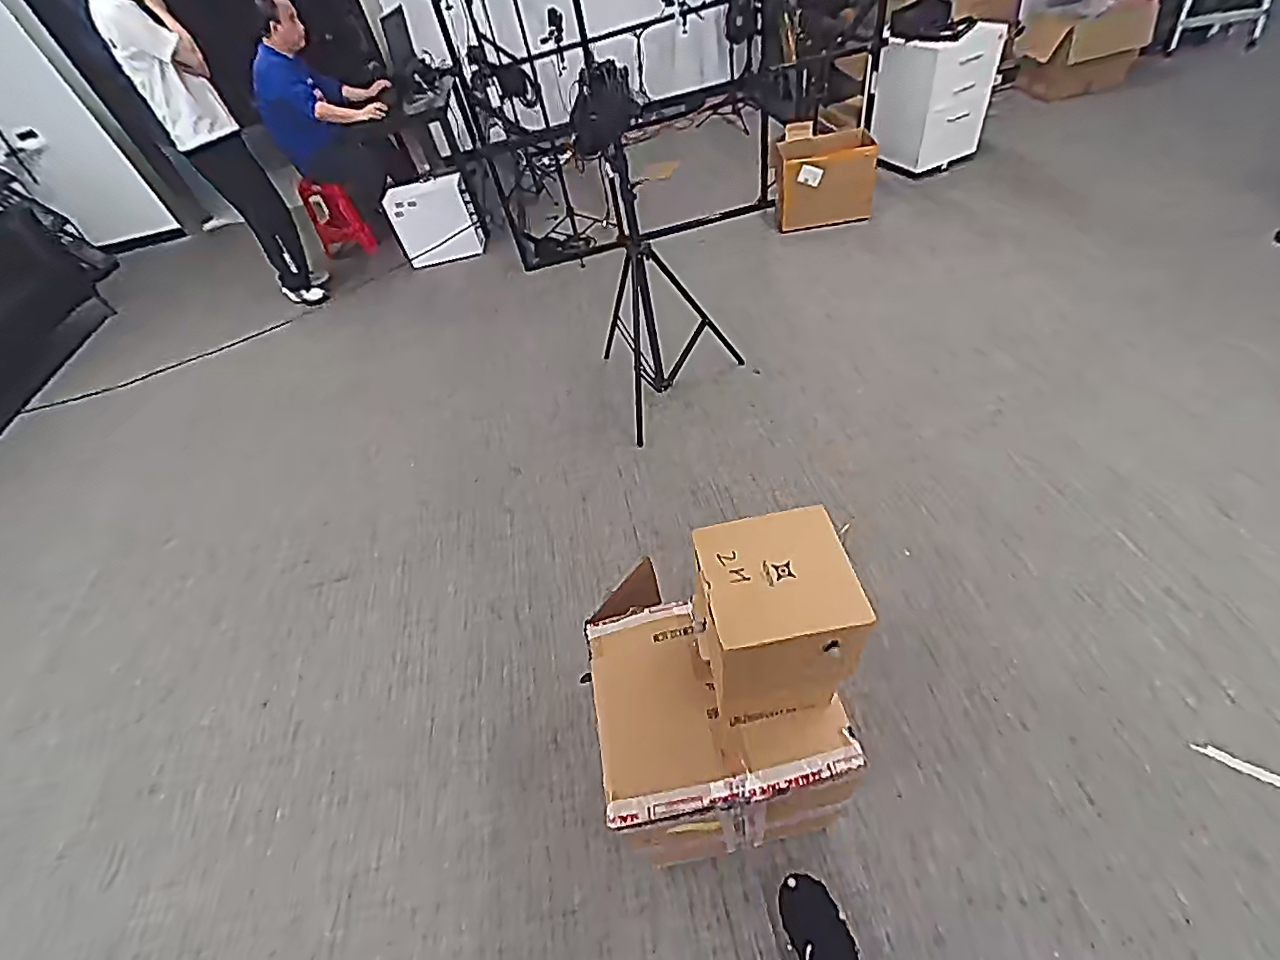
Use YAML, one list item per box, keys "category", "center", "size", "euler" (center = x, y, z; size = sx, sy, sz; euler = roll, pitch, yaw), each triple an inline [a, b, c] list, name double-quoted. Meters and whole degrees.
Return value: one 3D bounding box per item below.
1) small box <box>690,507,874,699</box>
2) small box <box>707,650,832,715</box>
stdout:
- category: "small box"
  center: [0.167, 0.161, 0.693]
  size: [0.179, 0.176, 0.168]
  euler: [-12, 49, 1]
- category: "small box"
  center: [0.190, 0.247, 0.832]
  size: [0.179, 0.176, 0.168]
  euler: [-9, 49, 2]
